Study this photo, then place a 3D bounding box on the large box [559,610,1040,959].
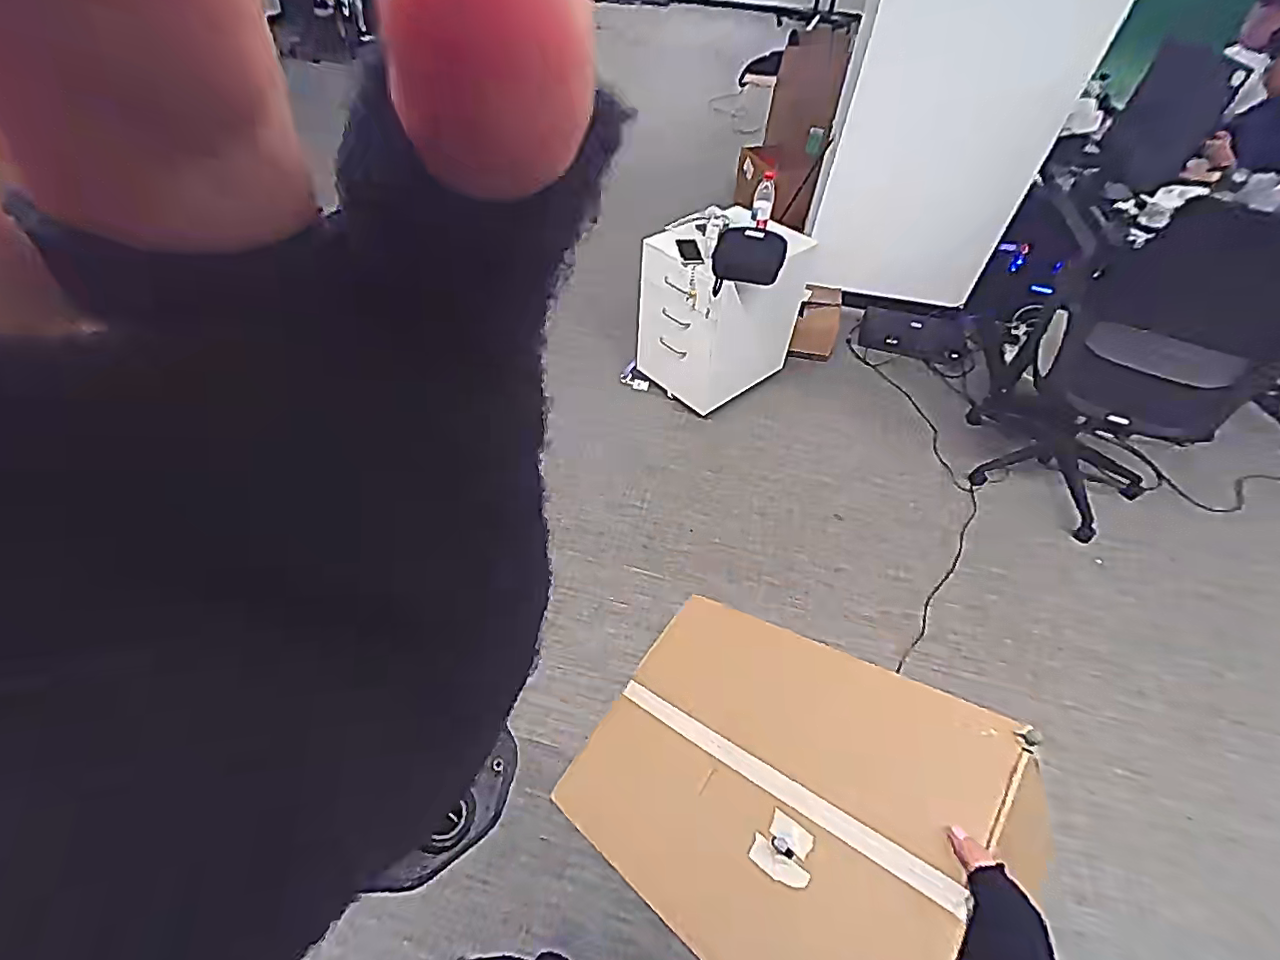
[{"bbox_3d":[0.188,0.418,0.644,0.408,0.320,0.320,12,54,48],"label":"large box"}]
